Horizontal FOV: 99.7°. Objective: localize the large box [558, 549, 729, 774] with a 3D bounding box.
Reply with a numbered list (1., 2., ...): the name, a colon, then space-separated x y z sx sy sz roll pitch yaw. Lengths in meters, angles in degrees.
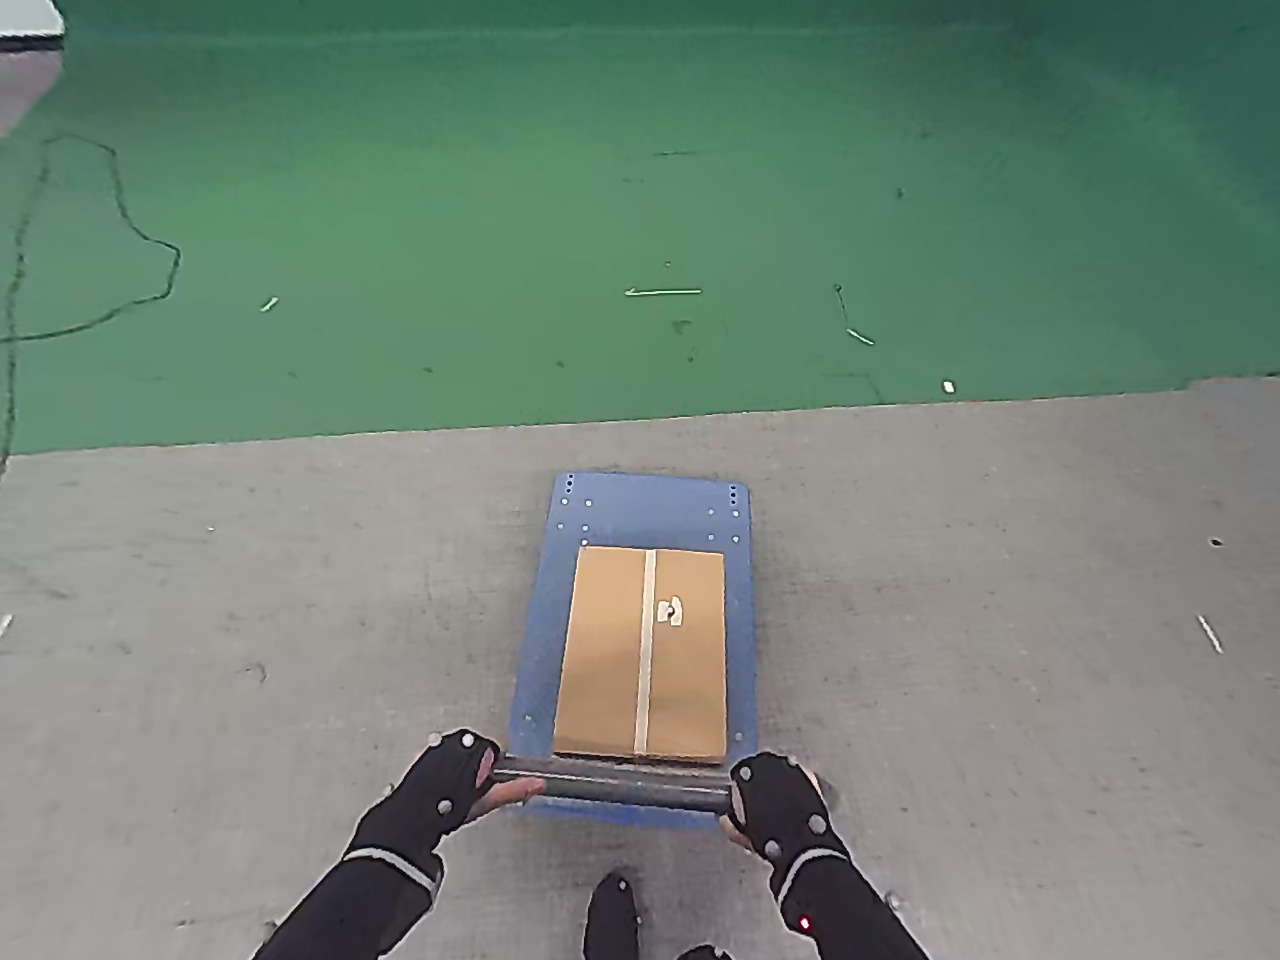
1. large box: 0.016 0.404 1.188 0.320 0.320 0.408 4 58 2
